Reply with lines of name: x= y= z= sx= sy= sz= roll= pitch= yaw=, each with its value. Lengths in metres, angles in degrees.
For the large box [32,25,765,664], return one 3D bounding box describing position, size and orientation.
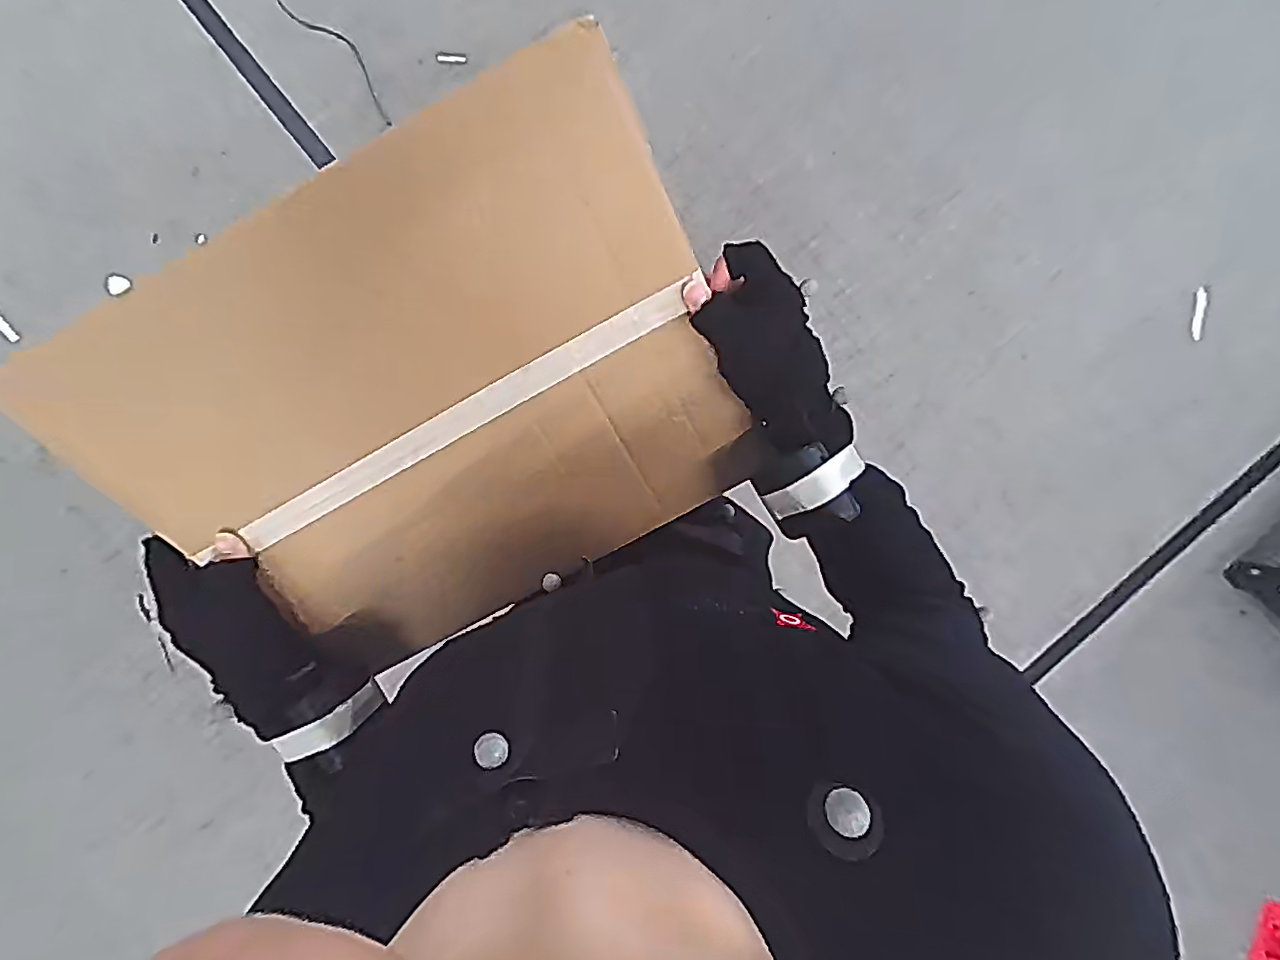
large box: x=-0.162 y=-0.112 z=0.515 sx=0.408 sy=0.320 sz=0.320 roll=-28 pitch=121 yaw=4
